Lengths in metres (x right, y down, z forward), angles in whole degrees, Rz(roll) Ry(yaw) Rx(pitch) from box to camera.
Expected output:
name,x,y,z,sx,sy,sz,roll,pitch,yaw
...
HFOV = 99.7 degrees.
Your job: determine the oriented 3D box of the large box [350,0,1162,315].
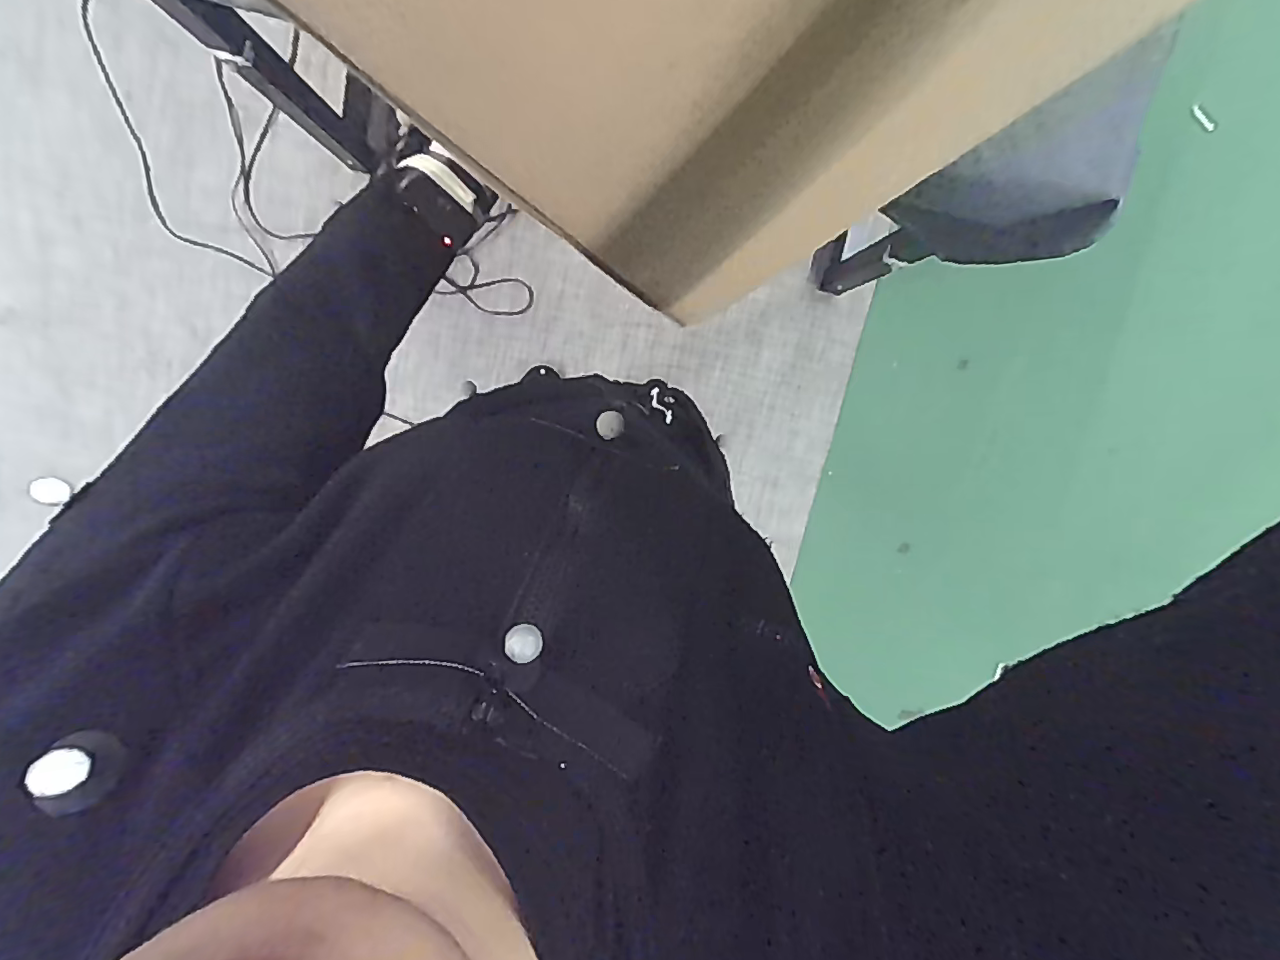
name,x,y,z,sx,sy,sz,roll,pitch,yaw
large box,0.082,-0.344,0.229,0.408,0.320,0.320,-32,77,23
